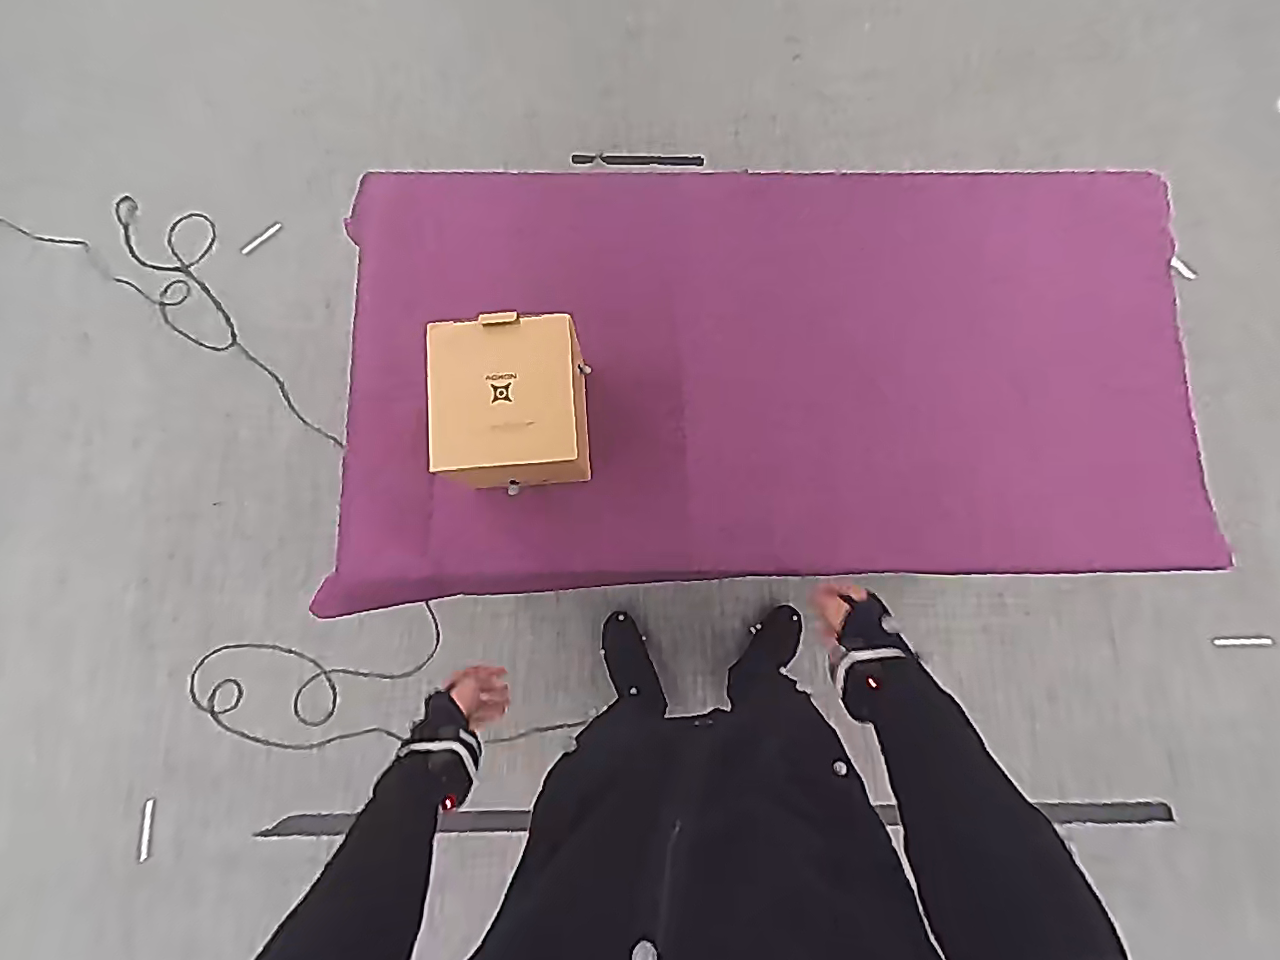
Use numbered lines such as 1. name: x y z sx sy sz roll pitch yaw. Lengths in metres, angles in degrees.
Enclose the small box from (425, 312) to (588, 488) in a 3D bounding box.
1. small box: -0.157 -0.090 0.679 0.168 0.176 0.179 -3 82 -1
